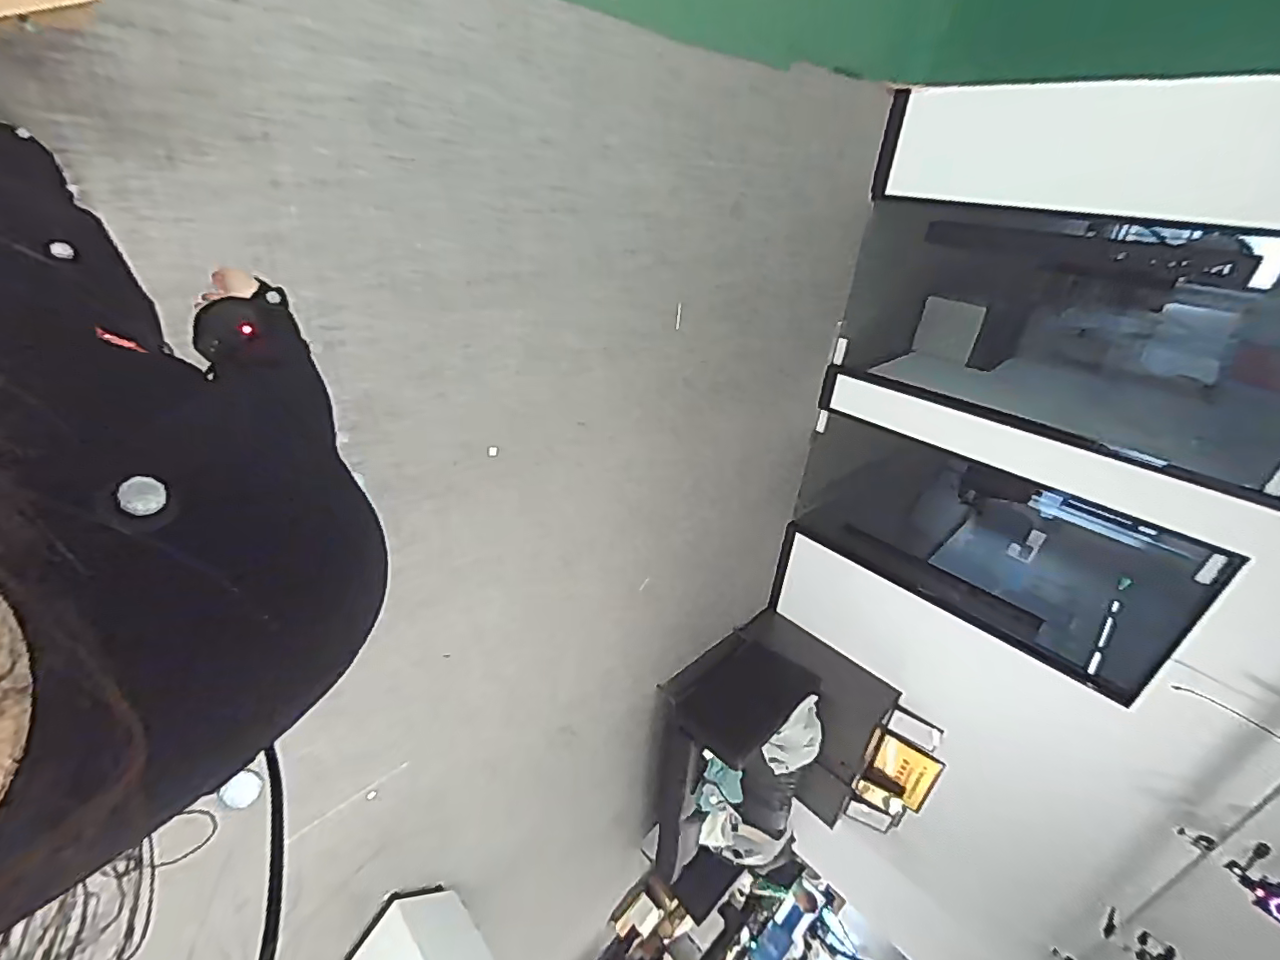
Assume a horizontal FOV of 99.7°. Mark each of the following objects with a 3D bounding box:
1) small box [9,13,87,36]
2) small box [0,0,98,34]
[{"bbox_3d":[-0.941,-0.741,0.761,0.179,0.176,0.168,-30,135,-34],"label":"small box"},{"bbox_3d":[-0.836,-0.664,0.665,0.179,0.176,0.168,-40,141,-25],"label":"small box"}]
